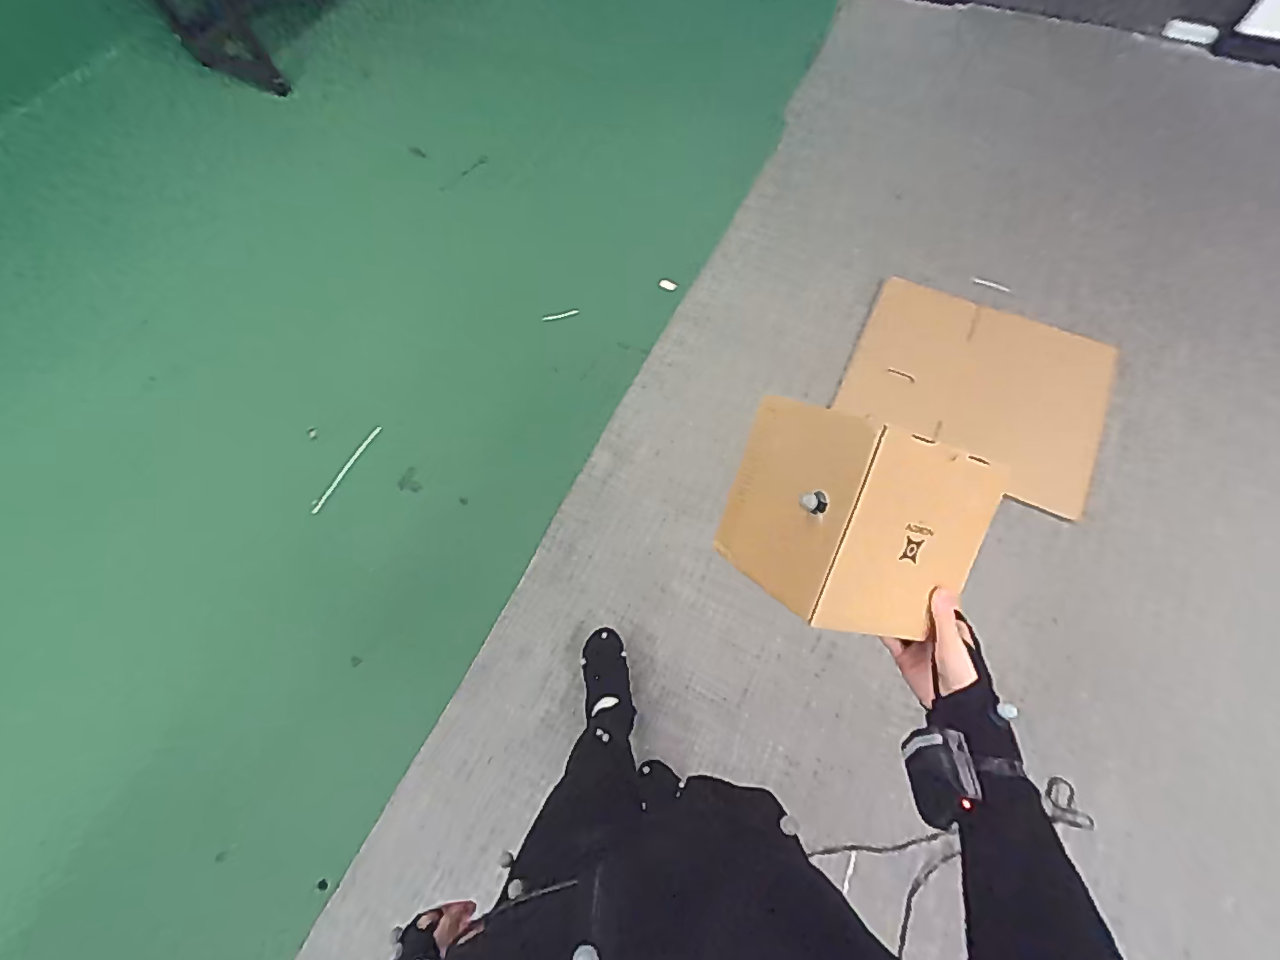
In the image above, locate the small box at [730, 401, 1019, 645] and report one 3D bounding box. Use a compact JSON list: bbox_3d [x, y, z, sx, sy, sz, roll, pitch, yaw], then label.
[{"bbox_3d":[0.212,0.035,0.533,0.168,0.176,0.179,14,99,-25],"label":"small box"}]
